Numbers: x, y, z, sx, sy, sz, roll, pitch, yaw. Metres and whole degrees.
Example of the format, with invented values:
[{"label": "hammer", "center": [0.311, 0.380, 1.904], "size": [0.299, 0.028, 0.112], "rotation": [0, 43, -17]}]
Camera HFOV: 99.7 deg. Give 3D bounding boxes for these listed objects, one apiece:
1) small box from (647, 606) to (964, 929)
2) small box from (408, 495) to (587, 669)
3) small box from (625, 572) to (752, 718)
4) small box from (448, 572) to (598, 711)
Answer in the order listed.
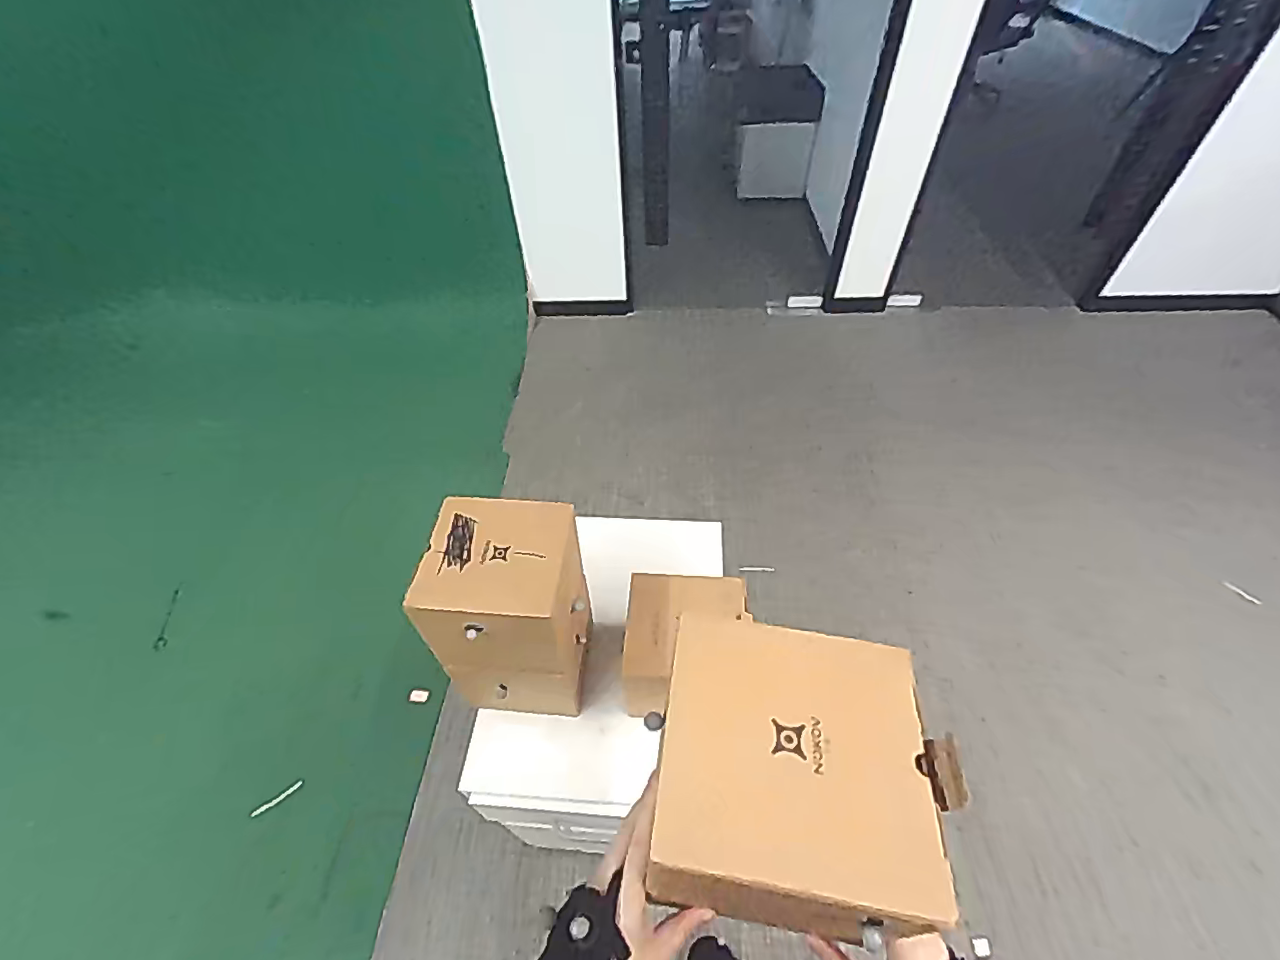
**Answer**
[{"label": "small box", "center": [0.104, 0.222, 0.416], "size": [0.179, 0.176, 0.168], "rotation": [9, 47, 4]}, {"label": "small box", "center": [-0.173, 0.139, 0.723], "size": [0.179, 0.176, 0.168], "rotation": [4, 50, 3]}, {"label": "small box", "center": [0.076, 0.259, 0.831], "size": [0.179, 0.176, 0.168], "rotation": [1, 48, 6]}, {"label": "small box", "center": [-0.169, 0.249, 0.846], "size": [0.179, 0.176, 0.168], "rotation": [3, 50, 4]}]
